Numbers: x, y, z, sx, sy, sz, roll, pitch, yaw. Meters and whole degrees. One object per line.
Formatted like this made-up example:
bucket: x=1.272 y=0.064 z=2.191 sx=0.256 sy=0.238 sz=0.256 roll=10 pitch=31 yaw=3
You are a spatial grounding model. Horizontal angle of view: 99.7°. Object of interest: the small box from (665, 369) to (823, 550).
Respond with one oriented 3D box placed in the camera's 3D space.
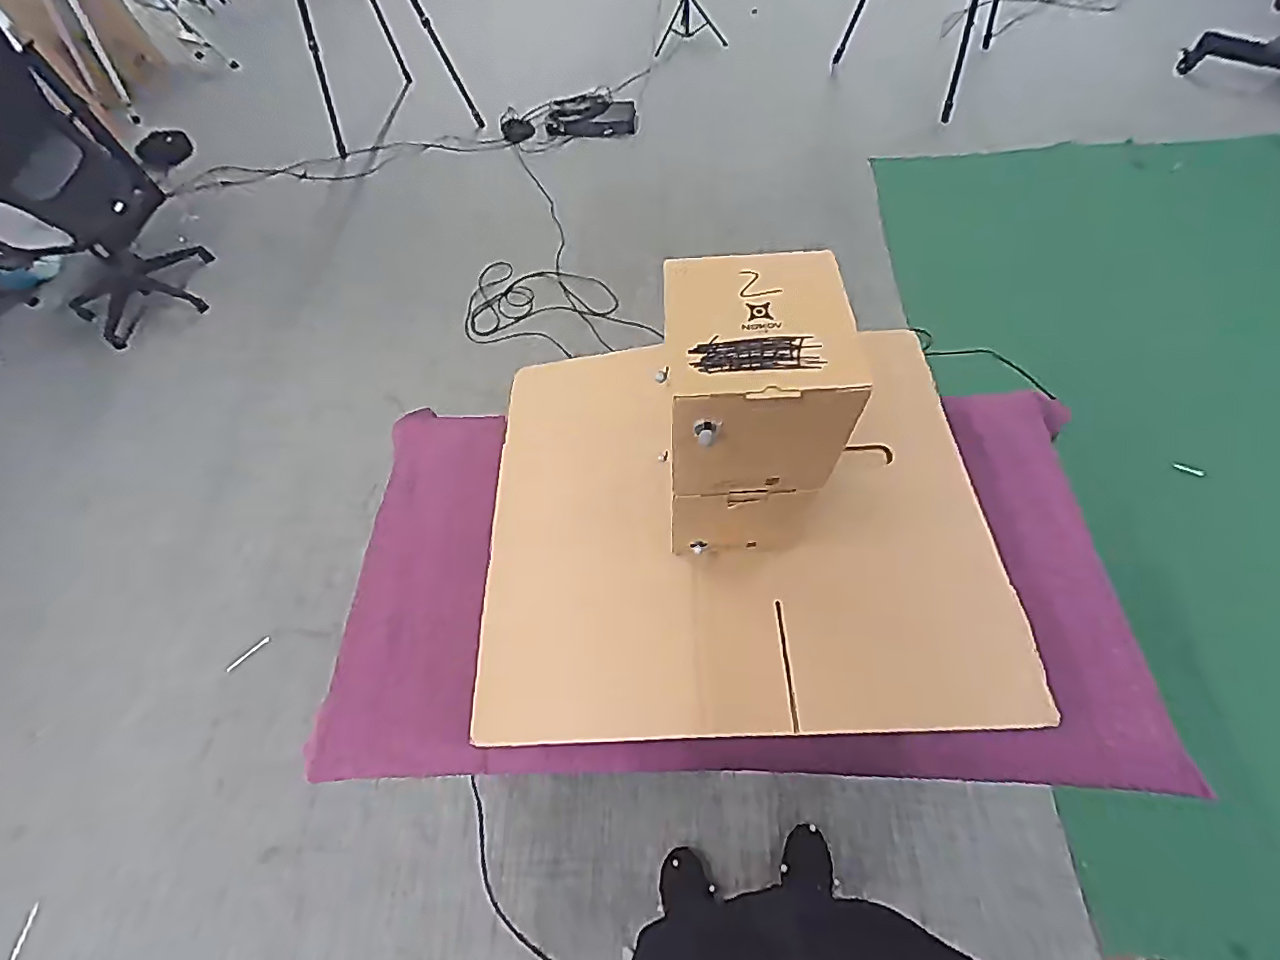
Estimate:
small box: x=0.119 y=-0.017 z=0.690 sx=0.168 sy=0.176 sz=0.179 roll=-3 pitch=59 yaw=1
